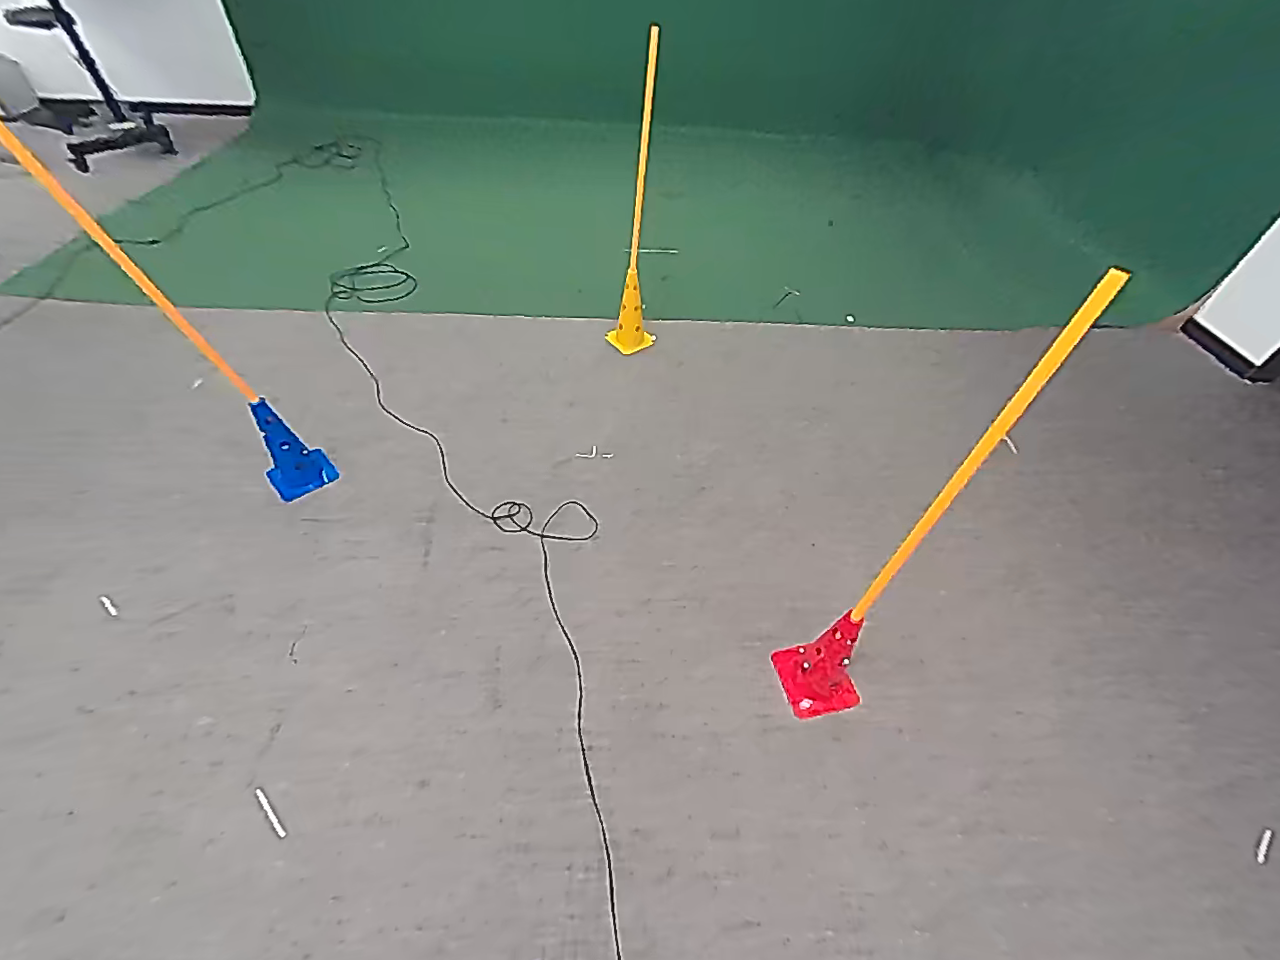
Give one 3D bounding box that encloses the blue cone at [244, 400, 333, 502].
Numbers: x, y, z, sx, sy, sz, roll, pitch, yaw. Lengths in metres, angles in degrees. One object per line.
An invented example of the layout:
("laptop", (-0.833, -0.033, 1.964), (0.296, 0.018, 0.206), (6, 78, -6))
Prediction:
("blue cone", (-1.232, -0.116, 1.842), (0.193, 0.380, 0.192), (-37, 59, -28))
